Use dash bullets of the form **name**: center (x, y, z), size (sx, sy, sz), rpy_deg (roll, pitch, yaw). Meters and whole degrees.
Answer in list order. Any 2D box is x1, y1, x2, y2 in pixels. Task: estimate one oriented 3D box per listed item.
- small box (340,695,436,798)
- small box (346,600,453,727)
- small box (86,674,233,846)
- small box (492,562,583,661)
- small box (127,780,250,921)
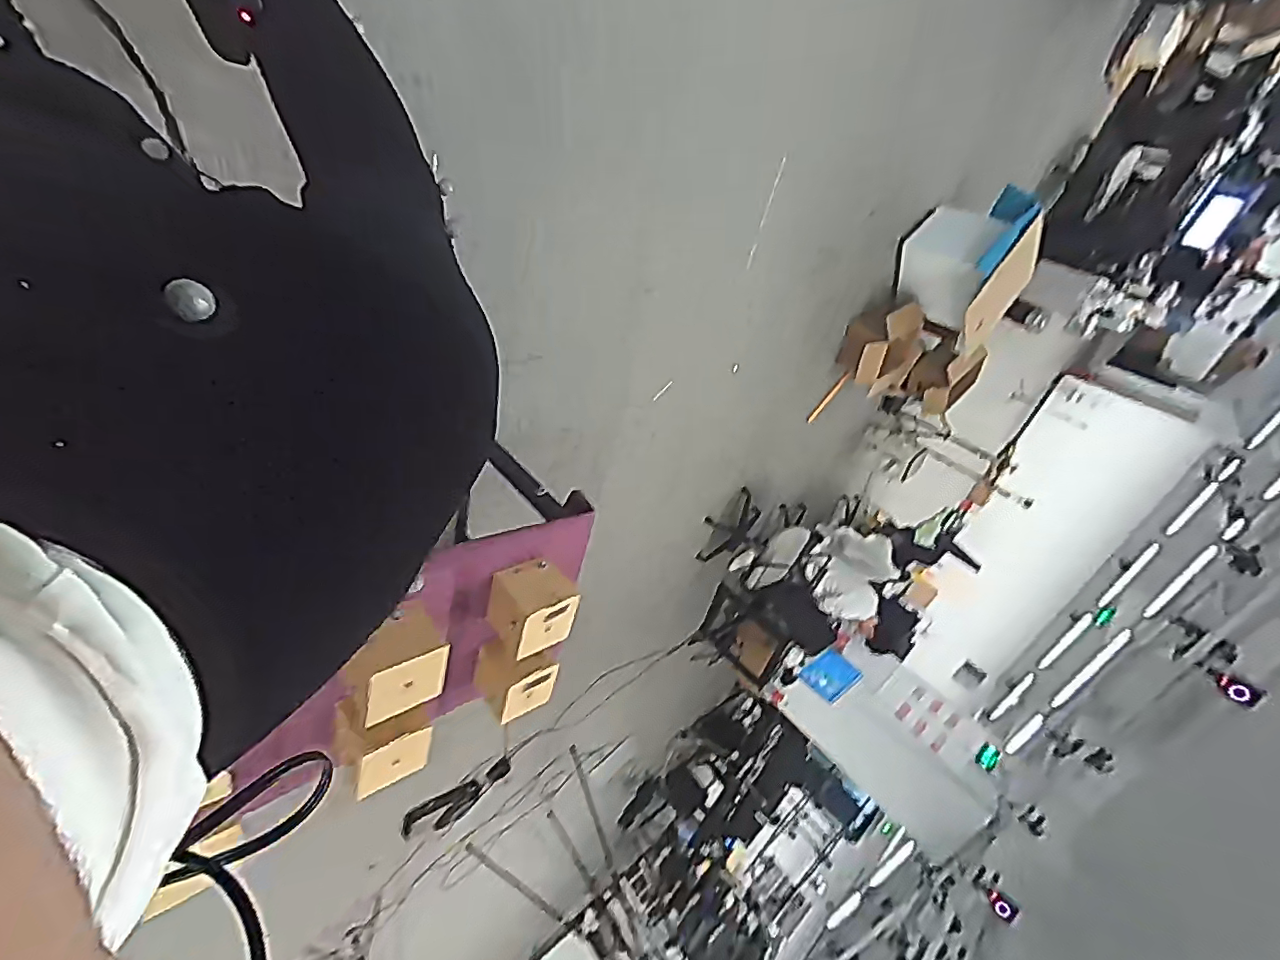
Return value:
- **small box**: center (-0.627, 0.631, 1.340), size (0.168, 0.176, 0.179), rpy_deg (-11, 130, -43)
- **small box**: center (-0.543, 0.403, 1.212), size (0.168, 0.176, 0.179), rpy_deg (-13, 132, -44)
- **small box**: center (-0.832, 0.478, 0.944), size (0.168, 0.176, 0.179), rpy_deg (-13, 134, -44)
- **small box**: center (-0.280, 0.341, 1.453), size (0.168, 0.176, 0.179), rpy_deg (-14, 134, -41)
- **small box**: center (-0.908, 0.715, 1.087), size (0.168, 0.176, 0.179), rpy_deg (-14, 132, -44)
